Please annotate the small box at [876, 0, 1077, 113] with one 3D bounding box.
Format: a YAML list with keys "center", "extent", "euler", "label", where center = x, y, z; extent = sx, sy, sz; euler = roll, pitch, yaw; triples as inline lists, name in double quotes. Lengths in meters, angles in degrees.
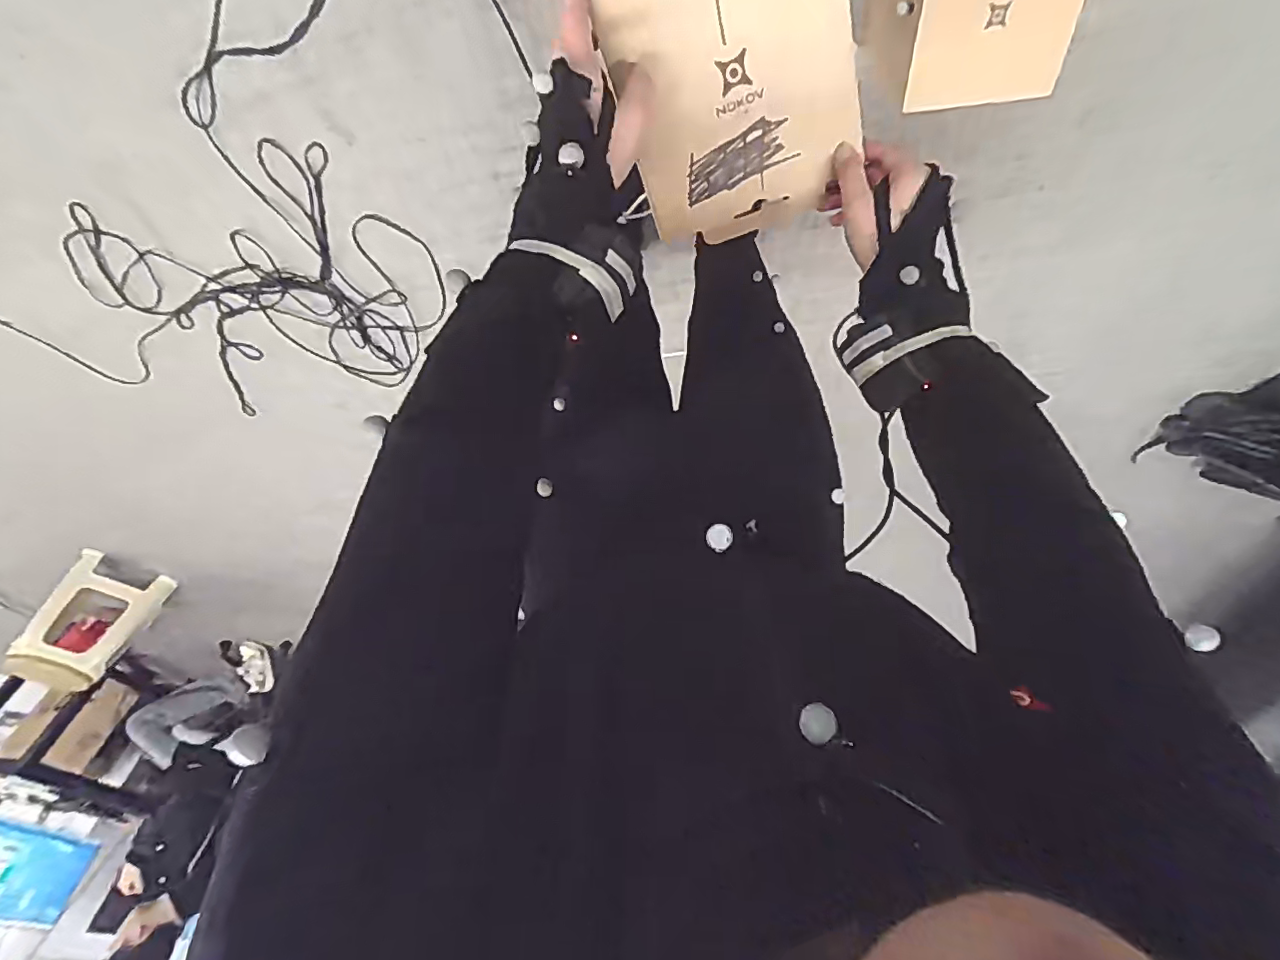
- center: [0.388, -0.563, 0.634]
  extent: [0.168, 0.176, 0.179]
  euler: [-1, 136, 9]
  label: "small box"

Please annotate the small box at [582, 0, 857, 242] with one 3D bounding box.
- center: [0.068, -0.334, 0.447]
  extent: [0.168, 0.176, 0.179]
  euler: [-14, 129, 15]
  label: "small box"

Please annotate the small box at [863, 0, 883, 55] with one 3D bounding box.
- center: [0.413, -0.691, 0.734]
  extent: [0.168, 0.176, 0.179]
  euler: [-1, 135, 9]
  label: "small box"
